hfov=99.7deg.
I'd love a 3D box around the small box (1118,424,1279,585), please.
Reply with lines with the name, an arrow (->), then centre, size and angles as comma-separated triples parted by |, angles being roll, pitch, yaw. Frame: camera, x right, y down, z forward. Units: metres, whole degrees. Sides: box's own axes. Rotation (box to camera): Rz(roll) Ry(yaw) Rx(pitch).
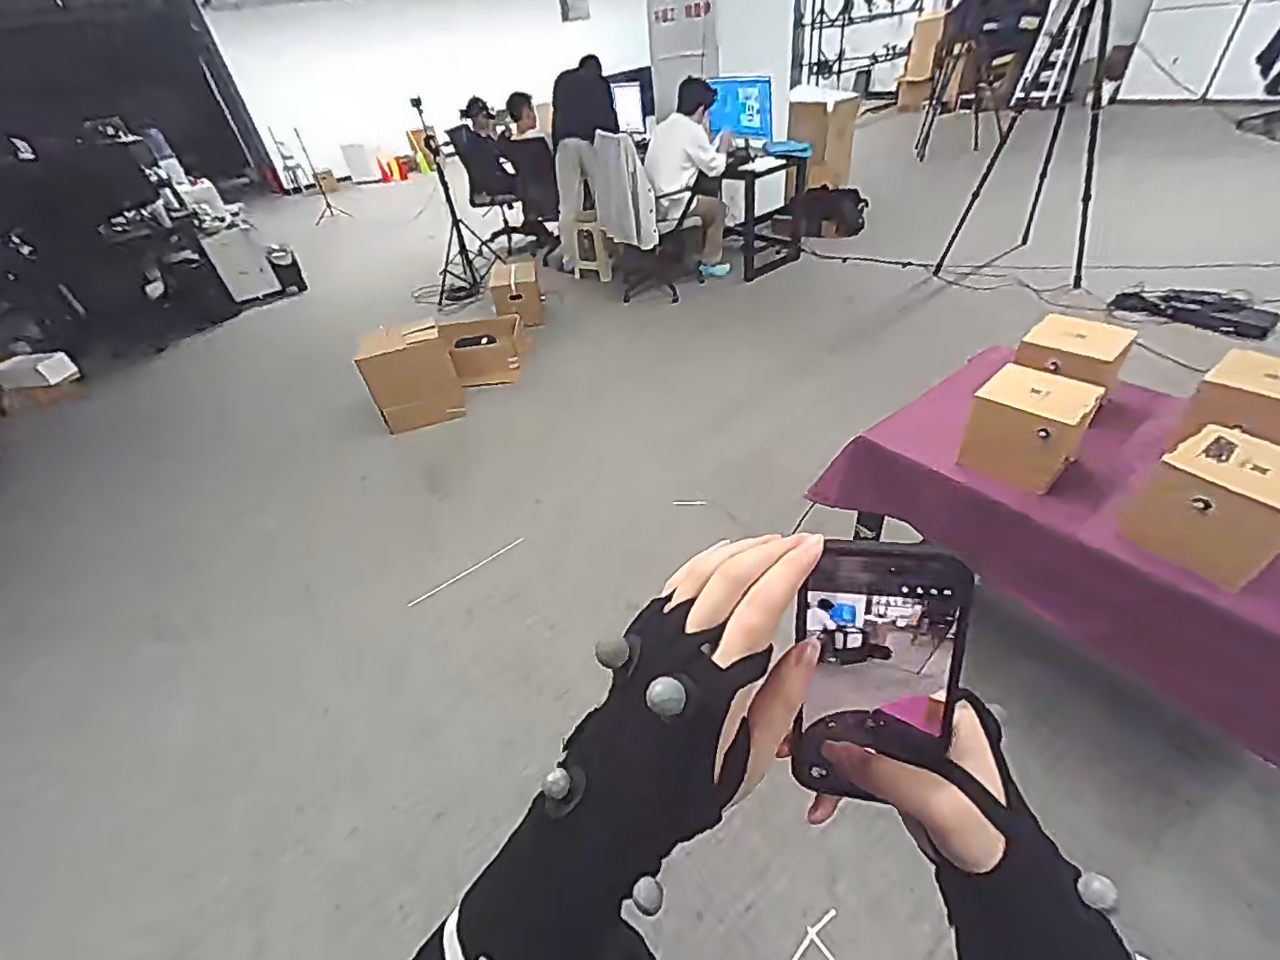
small box -> 0.957, 0.039, 0.895 | 0.168, 0.176, 0.179 | -25, 43, -19

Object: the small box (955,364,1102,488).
small box -> 0.783, -0.111, 1.108 | 0.168, 0.176, 0.179 | -34, 47, -28
